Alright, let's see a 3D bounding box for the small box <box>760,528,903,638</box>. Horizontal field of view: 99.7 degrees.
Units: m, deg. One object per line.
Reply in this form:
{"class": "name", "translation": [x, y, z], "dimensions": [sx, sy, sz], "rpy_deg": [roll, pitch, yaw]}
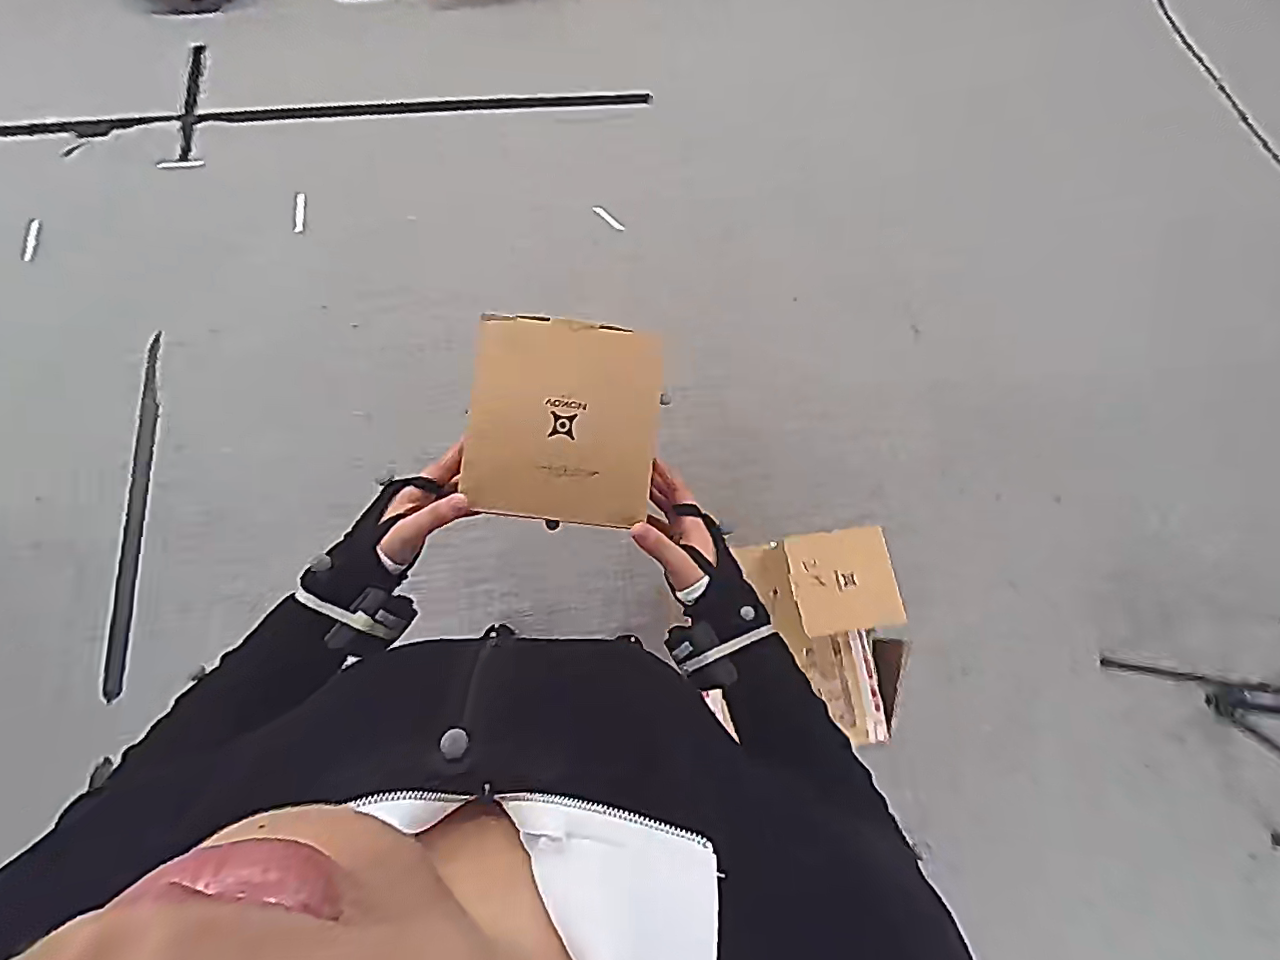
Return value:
{"class": "small box", "translation": [0.333, 0.190, 0.976], "dimensions": [0.179, 0.176, 0.168], "rpy_deg": [-7, 73, -3]}

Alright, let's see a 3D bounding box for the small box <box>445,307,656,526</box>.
{"class": "small box", "translation": [-0.081, -0.052, 0.545], "dimensions": [0.168, 0.176, 0.179], "rpy_deg": [6, 89, -3]}
